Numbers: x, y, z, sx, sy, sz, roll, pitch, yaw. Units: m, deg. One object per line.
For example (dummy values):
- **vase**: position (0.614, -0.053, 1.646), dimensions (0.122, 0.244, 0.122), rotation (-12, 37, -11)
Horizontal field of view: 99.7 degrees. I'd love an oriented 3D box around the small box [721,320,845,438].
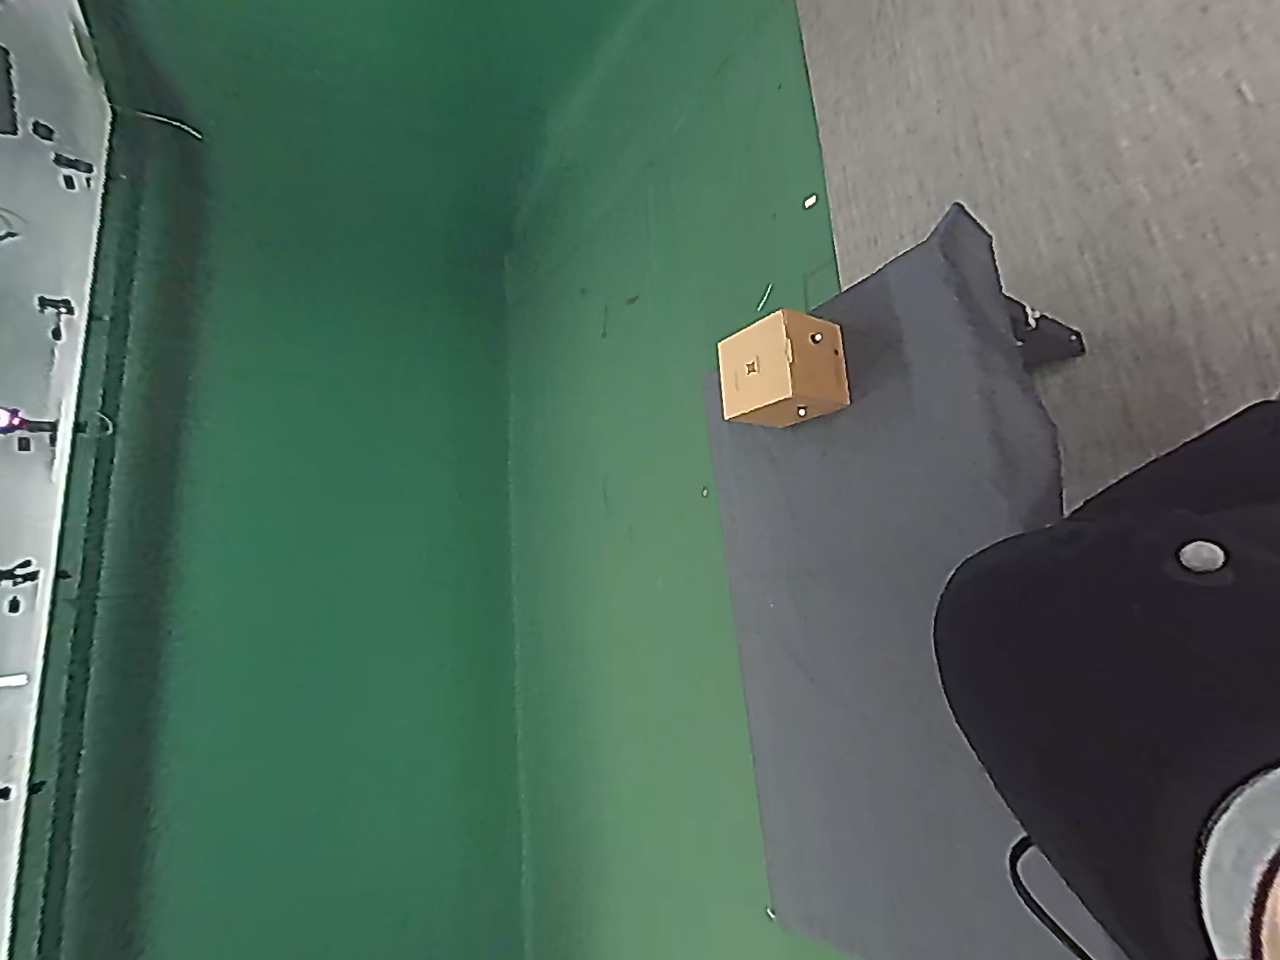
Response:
- **small box**: position (0.283, -0.188, 1.060), dimensions (0.179, 0.176, 0.168), rotation (-18, 70, 55)
